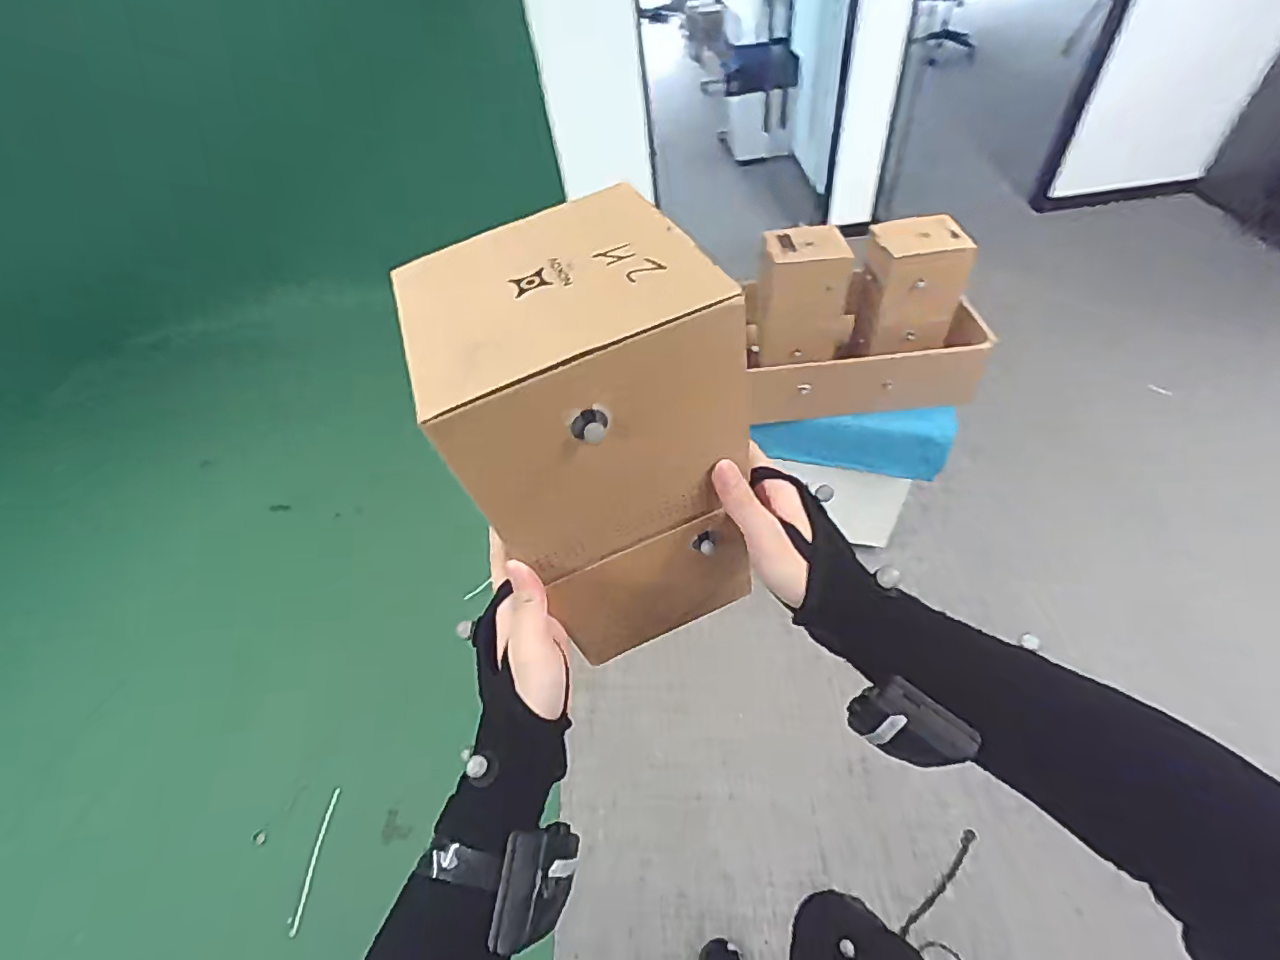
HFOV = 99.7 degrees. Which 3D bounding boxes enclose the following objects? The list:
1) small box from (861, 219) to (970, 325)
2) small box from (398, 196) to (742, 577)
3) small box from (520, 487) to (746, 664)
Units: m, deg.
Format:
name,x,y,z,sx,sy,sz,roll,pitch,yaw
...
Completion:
name,x,y,z,sx,sy,sz,roll,pitch,yaw
small box,0.633,-0.484,1.272,0.179,0.176,0.168,-7,49,6
small box,-0.041,-0.060,0.379,0.179,0.176,0.168,-23,50,-6
small box,-0.013,0.044,0.507,0.179,0.176,0.168,-23,50,-6
